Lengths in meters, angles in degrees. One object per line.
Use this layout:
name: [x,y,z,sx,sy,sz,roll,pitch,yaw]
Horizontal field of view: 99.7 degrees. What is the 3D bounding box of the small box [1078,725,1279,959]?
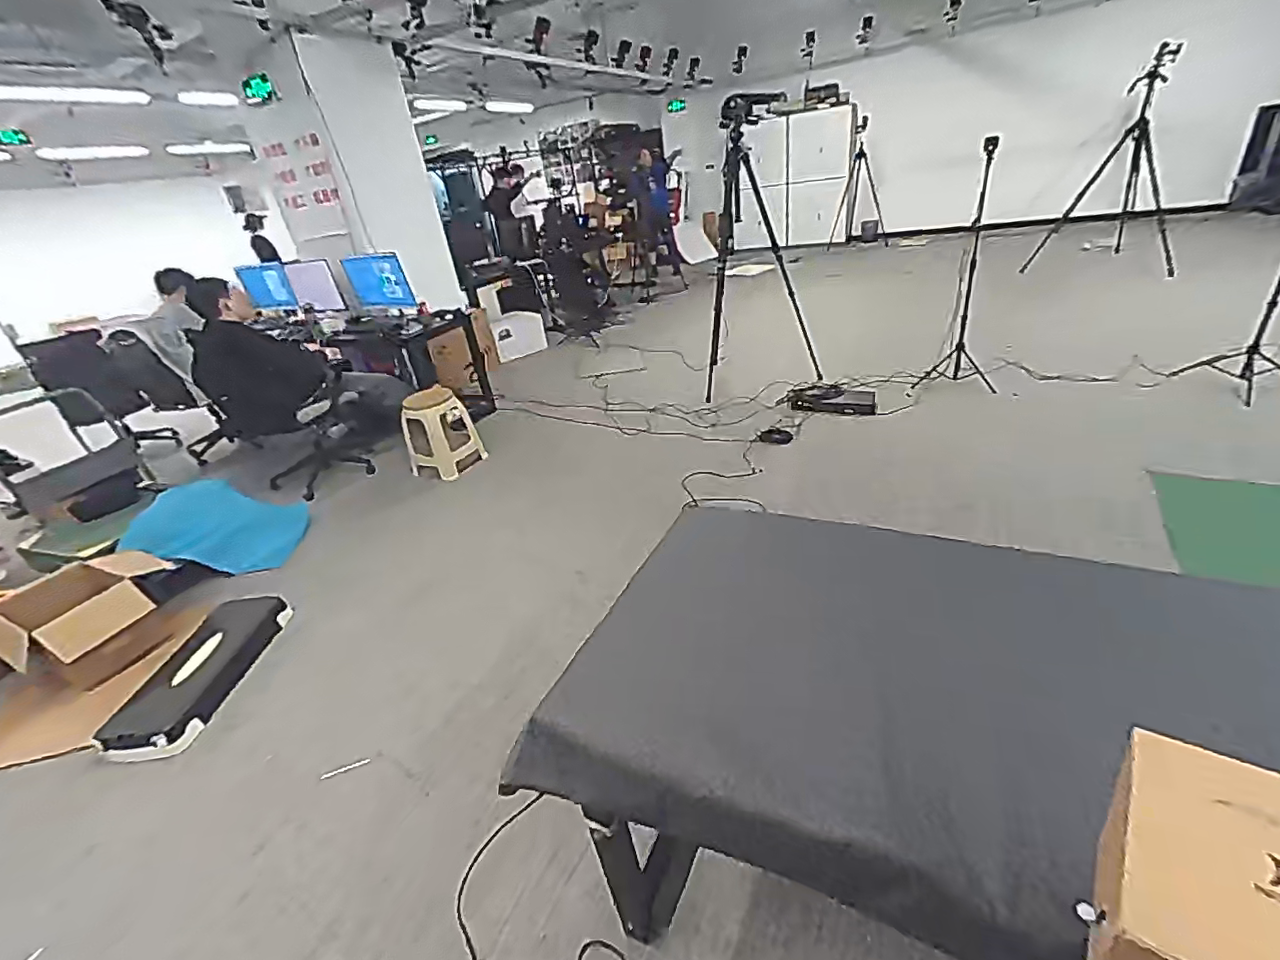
small box: [0.437,0.329,0.390,0.168,0.176,0.179,11,36,39]
